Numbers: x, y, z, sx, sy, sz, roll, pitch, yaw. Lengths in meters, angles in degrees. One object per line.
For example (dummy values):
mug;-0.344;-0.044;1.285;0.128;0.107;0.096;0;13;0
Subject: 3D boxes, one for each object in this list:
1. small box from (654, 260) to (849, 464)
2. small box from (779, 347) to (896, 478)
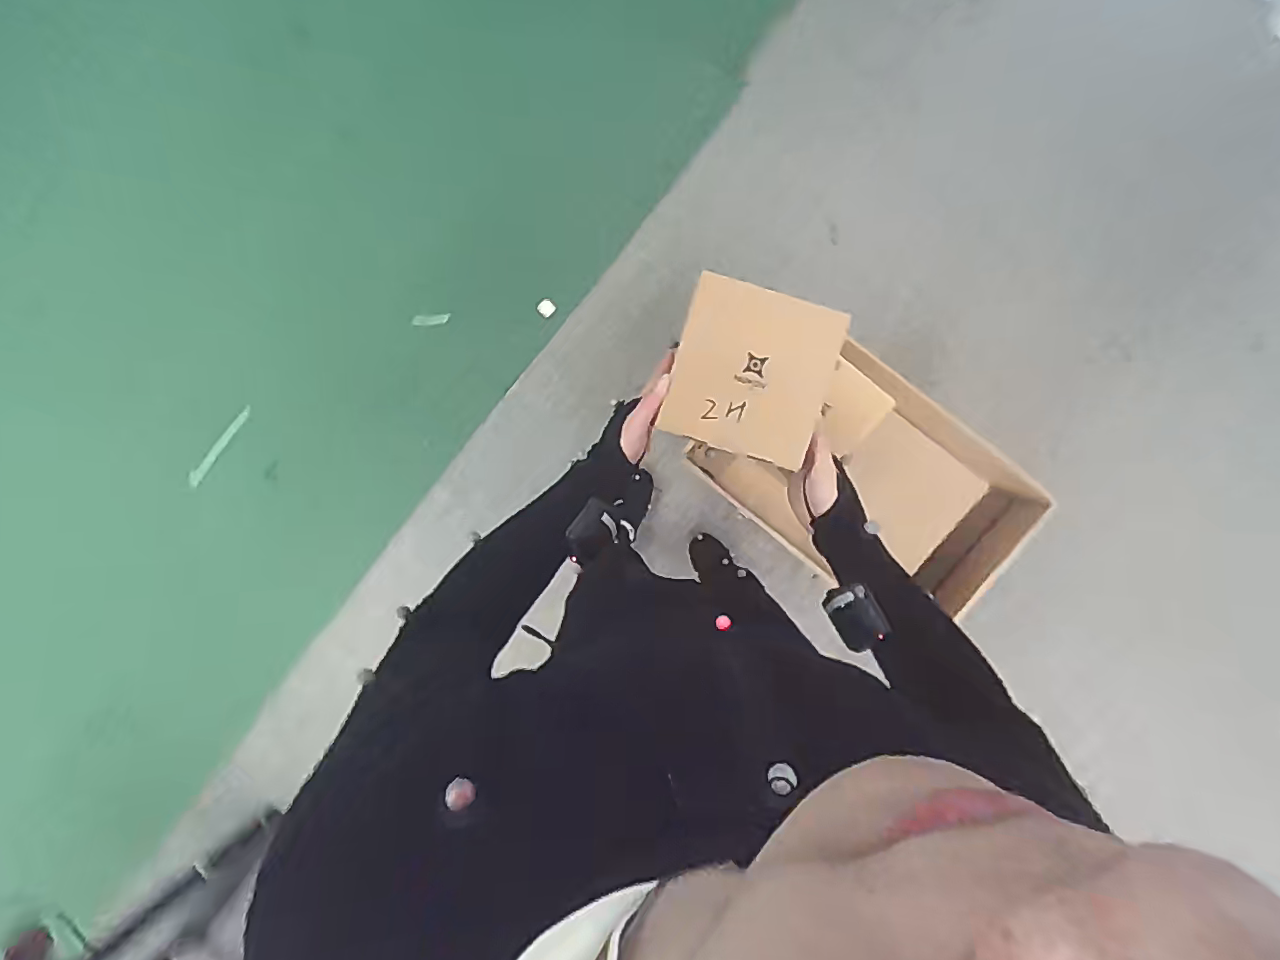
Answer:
small box;0.116;-0.130;0.647;0.168;0.176;0.179;17;96;-2
small box;0.299;-0.119;0.949;0.168;0.176;0.179;42;92;4
